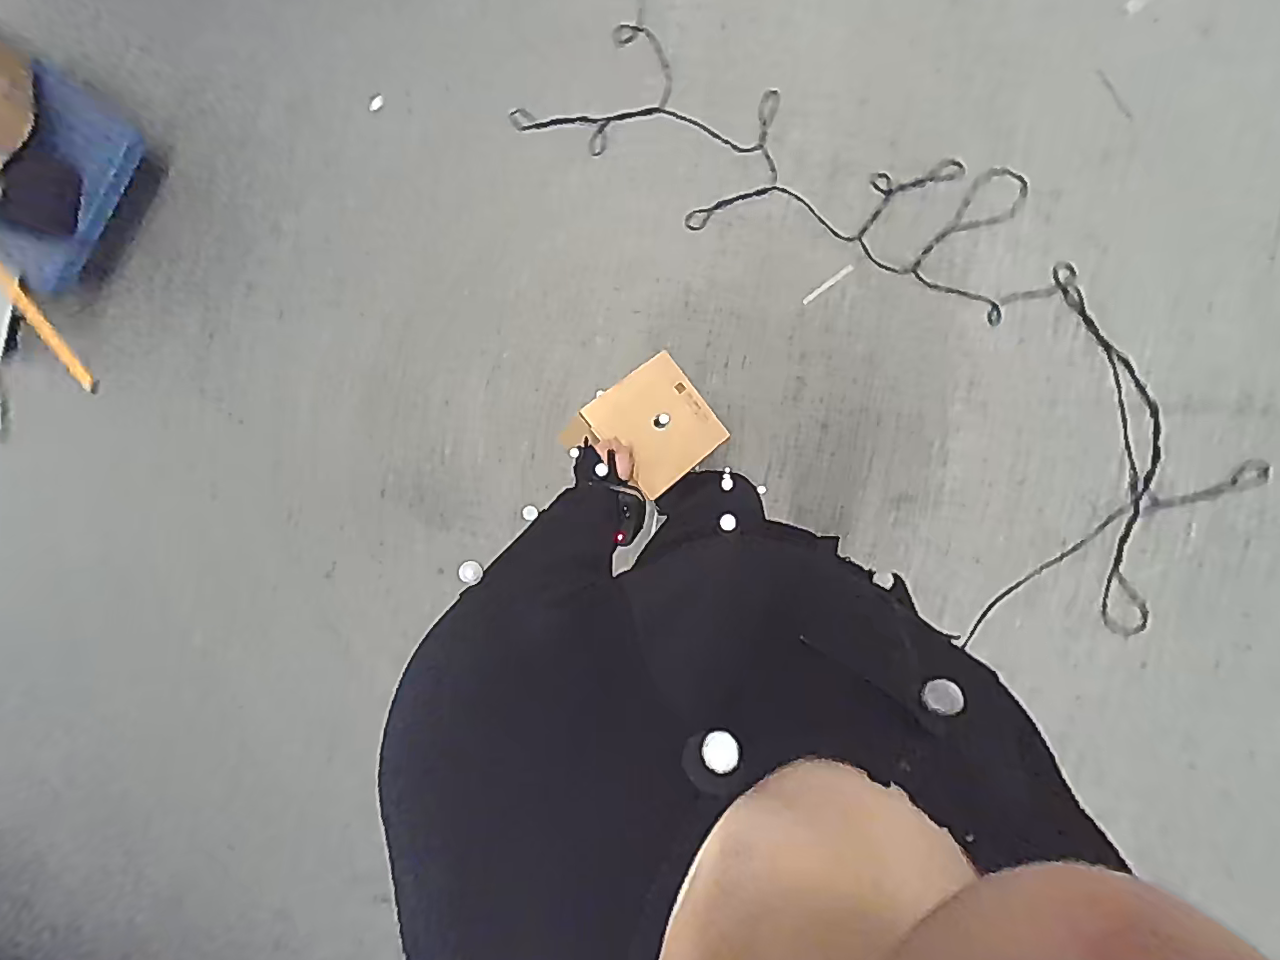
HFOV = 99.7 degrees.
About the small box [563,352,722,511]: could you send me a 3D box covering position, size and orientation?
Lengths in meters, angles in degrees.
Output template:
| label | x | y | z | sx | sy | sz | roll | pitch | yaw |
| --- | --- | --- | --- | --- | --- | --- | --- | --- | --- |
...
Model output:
| label | x | y | z | sx | sy | sz | roll | pitch | yaw |
| --- | --- | --- | --- | --- | --- | --- | --- | --- | --- |
| small box | 0.004 | -0.074 | 0.860 | 0.176 | 0.179 | 0.168 | -40 | 93 | -19 |
